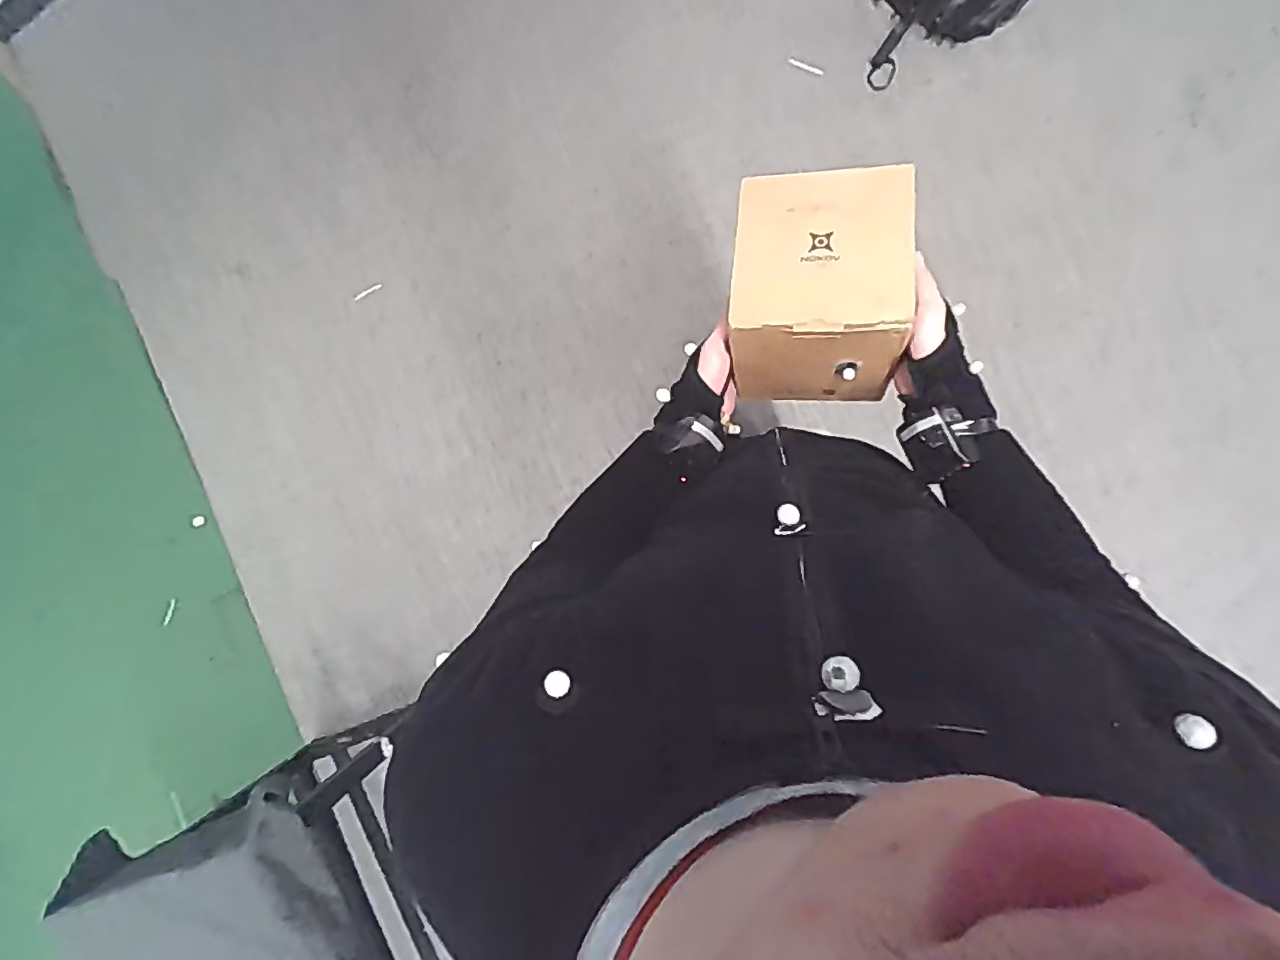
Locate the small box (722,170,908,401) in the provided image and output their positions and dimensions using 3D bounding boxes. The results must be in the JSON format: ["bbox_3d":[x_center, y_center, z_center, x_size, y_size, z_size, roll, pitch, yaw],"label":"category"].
[{"bbox_3d":[0.185,-0.197,0.591,0.168,0.176,0.179,3,73,13],"label":"small box"}]
